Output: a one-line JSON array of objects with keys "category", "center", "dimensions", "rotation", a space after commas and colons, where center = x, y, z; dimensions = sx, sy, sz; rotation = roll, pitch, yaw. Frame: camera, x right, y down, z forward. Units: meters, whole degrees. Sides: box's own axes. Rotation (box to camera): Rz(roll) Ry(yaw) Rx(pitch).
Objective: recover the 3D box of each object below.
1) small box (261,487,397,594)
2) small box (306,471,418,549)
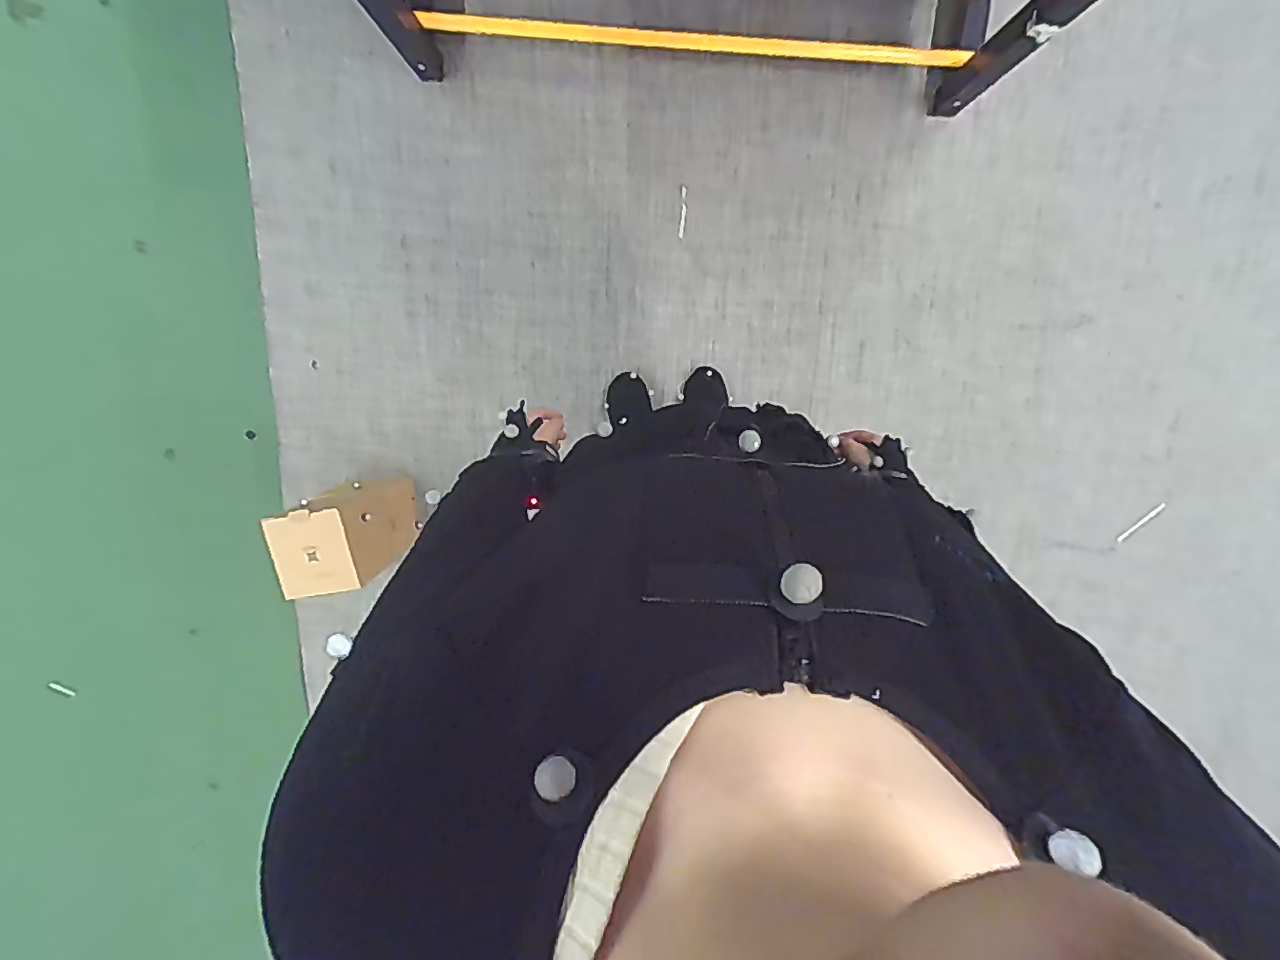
[{"category": "small box", "center": [-0.654, 0.120, 1.158], "dimensions": [0.168, 0.176, 0.179], "rotation": [-9, 103, 4]}, {"category": "small box", "center": [-0.661, 0.078, 1.315], "dimensions": [0.179, 0.176, 0.168], "rotation": [-7, 102, 3]}]
